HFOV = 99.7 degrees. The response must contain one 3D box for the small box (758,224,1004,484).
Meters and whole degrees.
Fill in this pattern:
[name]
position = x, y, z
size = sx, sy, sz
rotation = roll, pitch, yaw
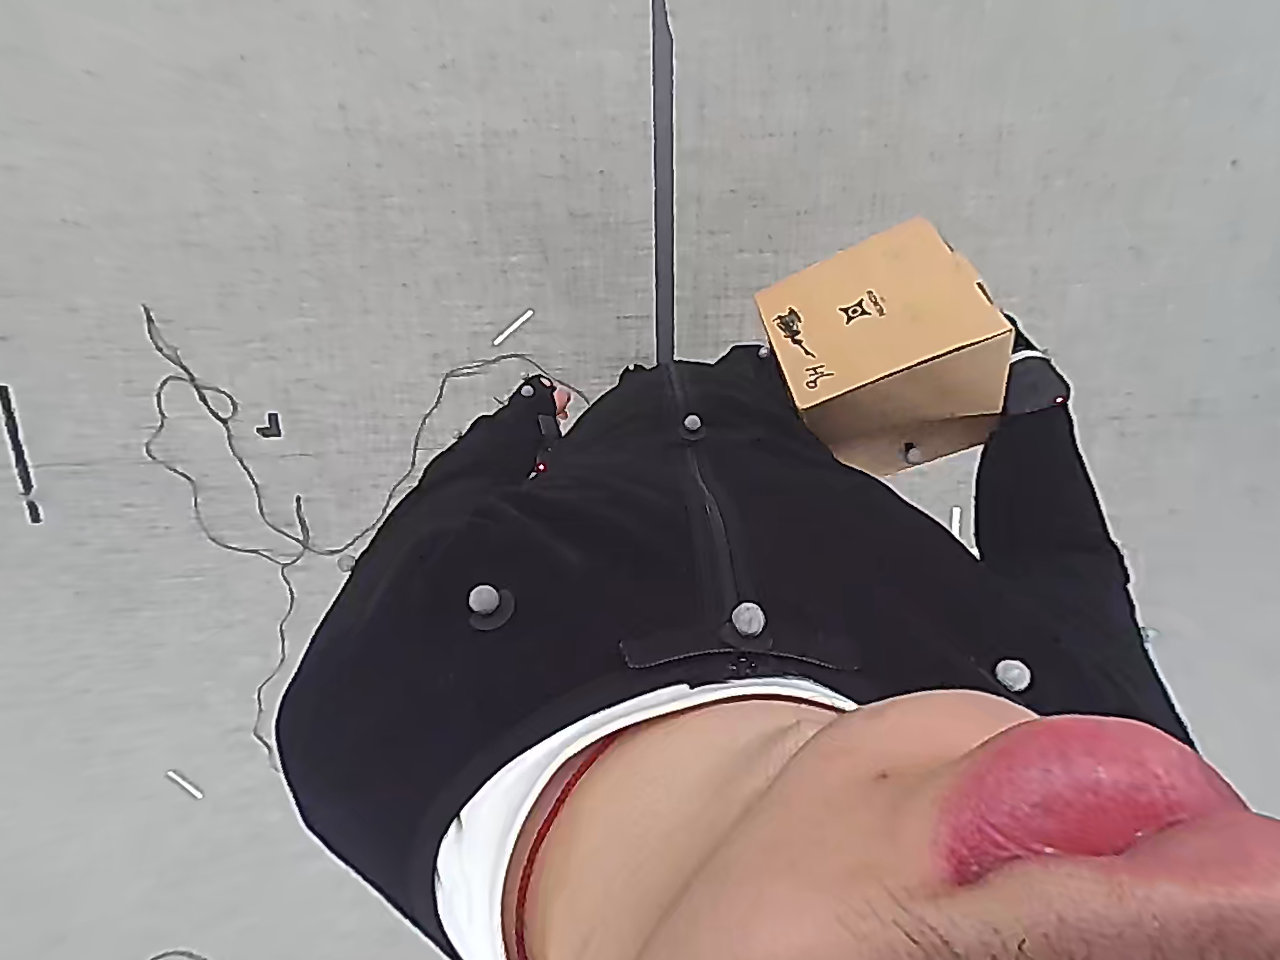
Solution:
[small box]
position = 0.246, -0.122, 0.575
size = 0.179, 0.168, 0.176
rotation = -21, 143, 17
